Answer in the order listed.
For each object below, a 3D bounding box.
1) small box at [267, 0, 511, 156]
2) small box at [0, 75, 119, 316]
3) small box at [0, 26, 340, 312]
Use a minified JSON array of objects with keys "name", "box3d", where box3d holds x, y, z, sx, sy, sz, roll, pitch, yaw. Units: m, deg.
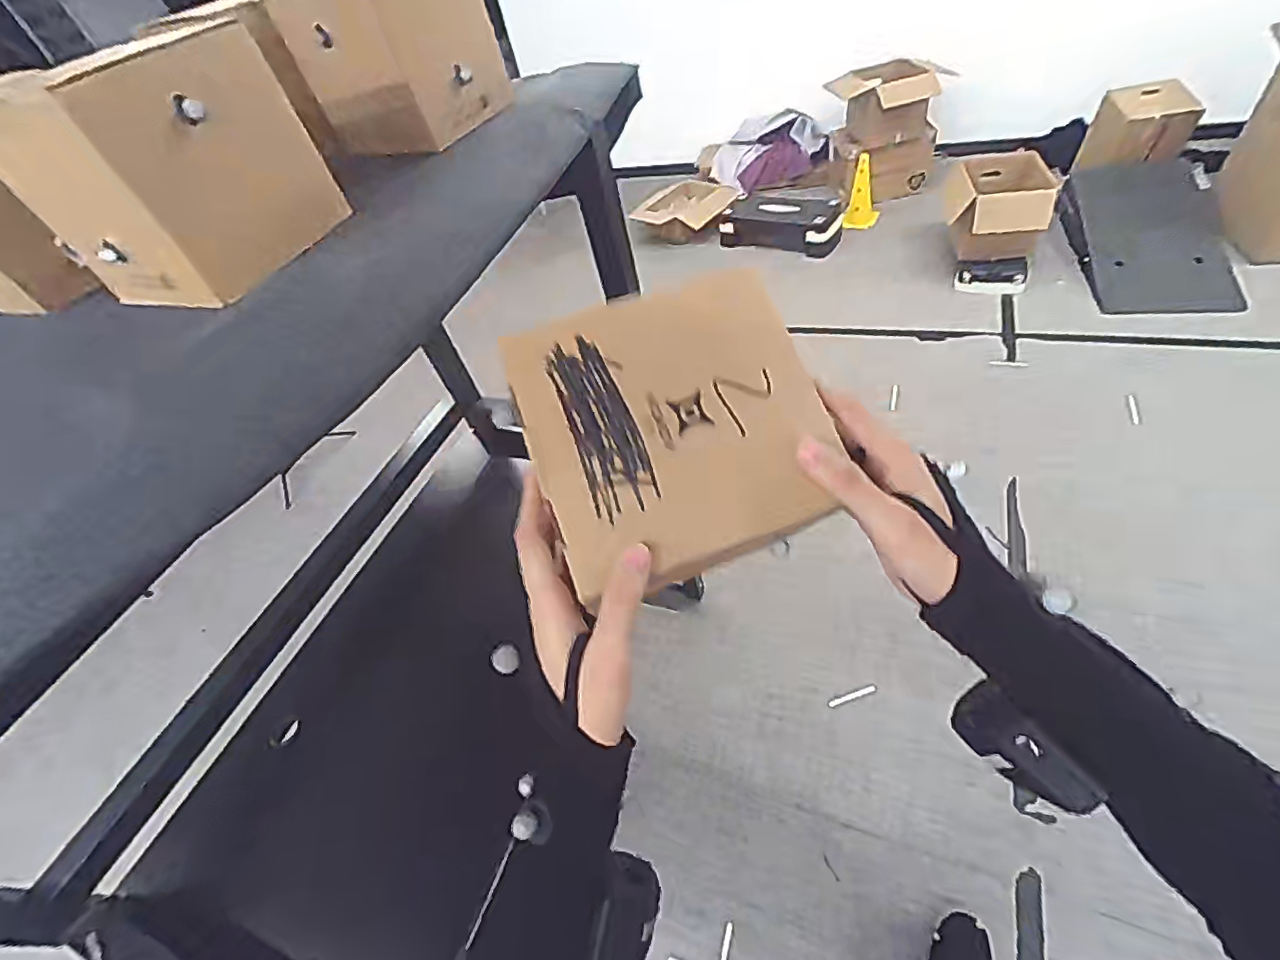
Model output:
[{"name":"small box","box3d":[-0.297,-0.524,0.672,0.179,0.176,0.168,15,56,26]},{"name":"small box","box3d":[-0.660,-0.289,0.567,0.179,0.176,0.168,9,54,21]},{"name":"small box","box3d":[-0.418,-0.279,0.497,0.168,0.176,0.179,9,54,21]}]
